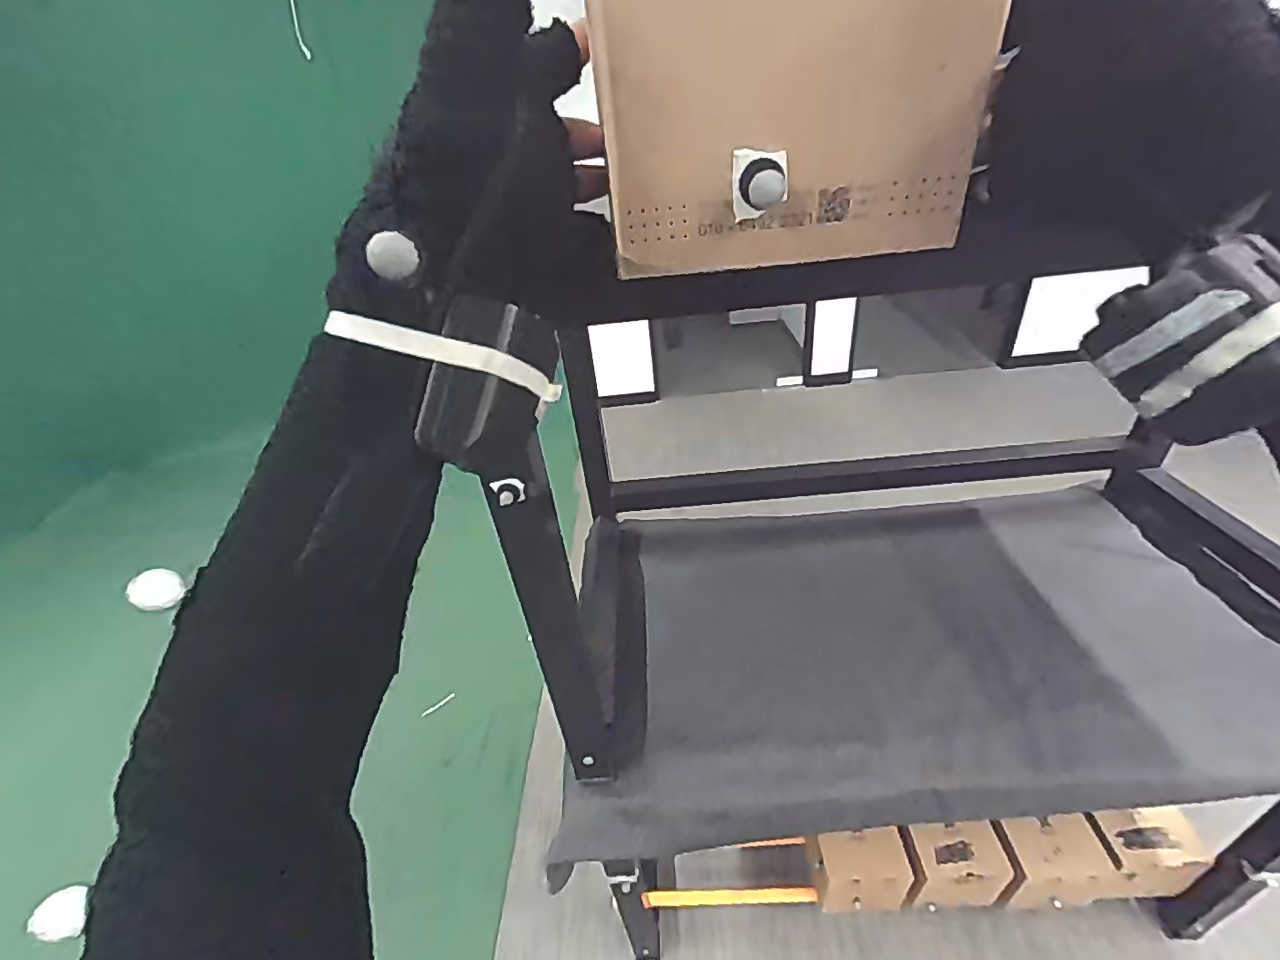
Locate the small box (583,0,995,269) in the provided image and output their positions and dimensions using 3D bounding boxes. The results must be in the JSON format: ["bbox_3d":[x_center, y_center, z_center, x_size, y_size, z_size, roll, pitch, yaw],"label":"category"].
[{"bbox_3d":[0.059,-0.224,0.286,0.168,0.176,0.179,-6,37,3],"label":"small box"}]
